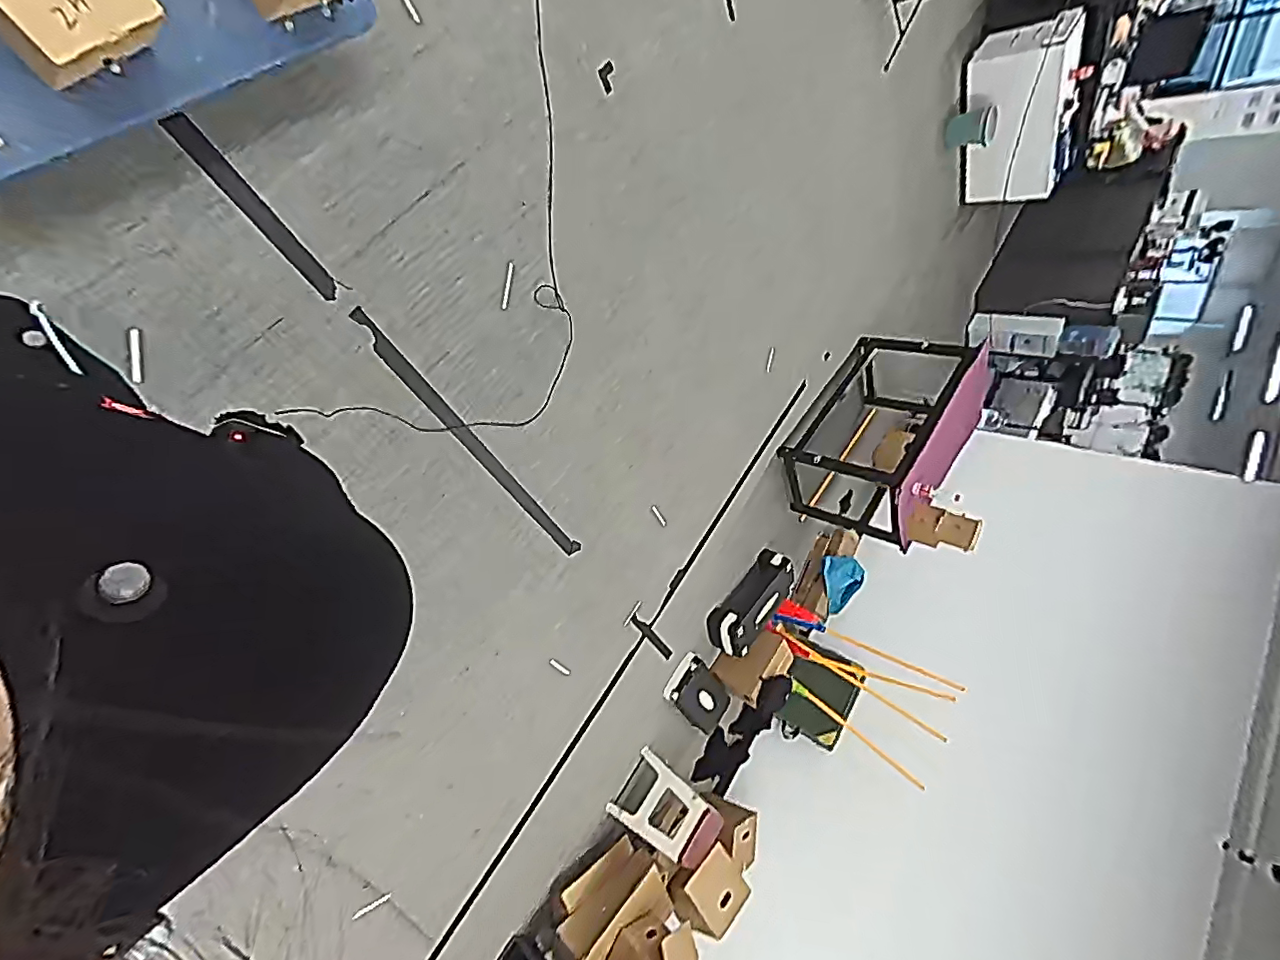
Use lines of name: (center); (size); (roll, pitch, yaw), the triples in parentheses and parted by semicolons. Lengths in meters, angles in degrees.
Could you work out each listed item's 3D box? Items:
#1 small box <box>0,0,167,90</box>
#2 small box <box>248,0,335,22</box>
small box: (-0.813, -0.678, 0.738); (0.168, 0.176, 0.179); (-52, 137, -21)
small box: (-0.588, -0.907, 0.901); (0.179, 0.176, 0.168); (-47, 135, -24)
